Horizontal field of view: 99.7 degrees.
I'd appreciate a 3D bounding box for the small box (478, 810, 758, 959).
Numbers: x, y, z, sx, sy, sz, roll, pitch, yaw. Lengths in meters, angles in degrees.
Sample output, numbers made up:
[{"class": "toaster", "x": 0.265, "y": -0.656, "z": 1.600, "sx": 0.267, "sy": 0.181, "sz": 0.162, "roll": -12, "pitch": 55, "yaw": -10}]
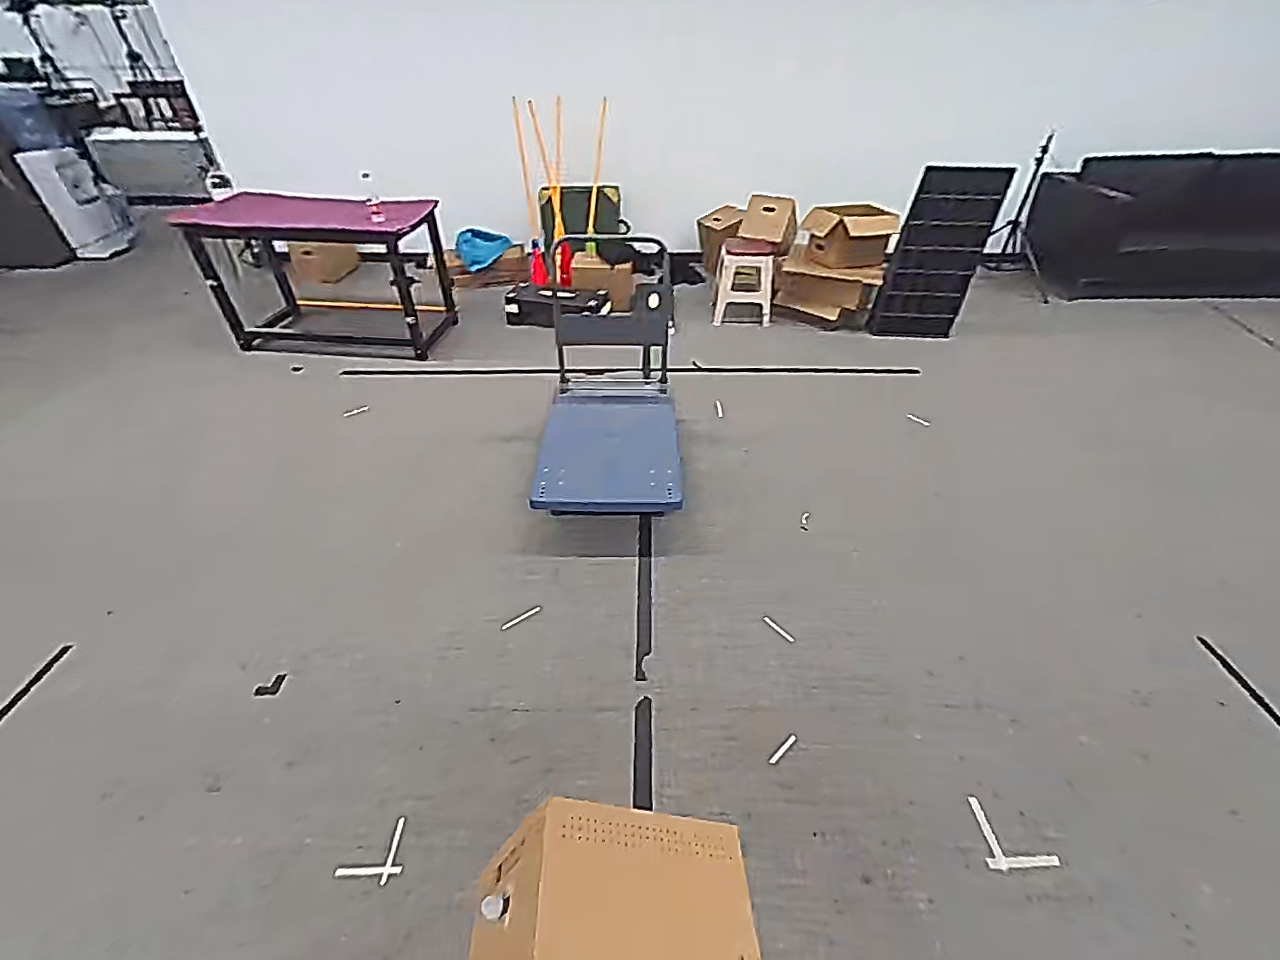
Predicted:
[{"class": "small box", "x": -0.020, "y": 0.378, "z": 0.413, "sx": 0.179, "sy": 0.168, "sz": 0.176, "roll": 22, "pitch": 33, "yaw": -18}]
